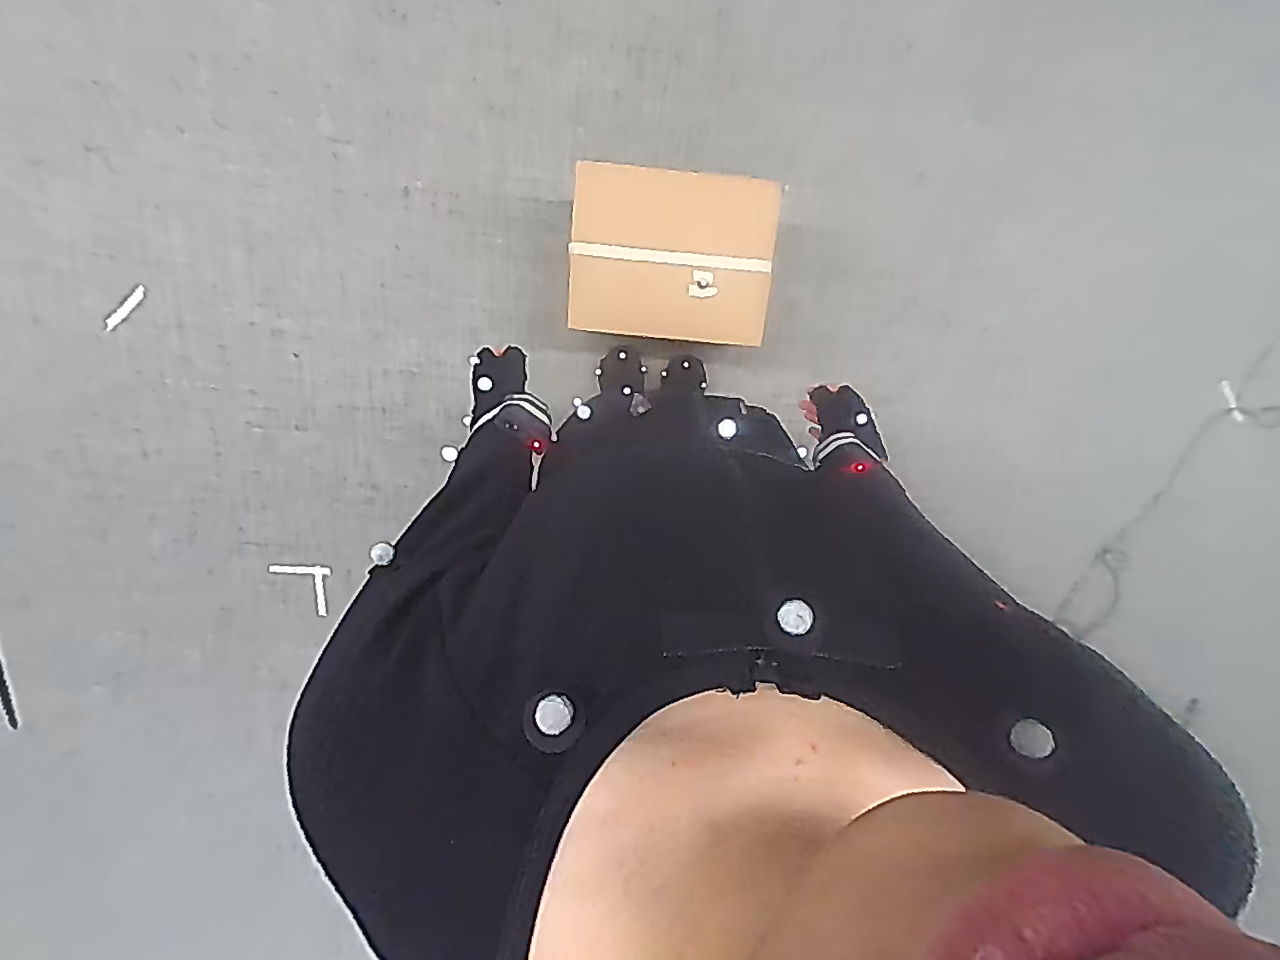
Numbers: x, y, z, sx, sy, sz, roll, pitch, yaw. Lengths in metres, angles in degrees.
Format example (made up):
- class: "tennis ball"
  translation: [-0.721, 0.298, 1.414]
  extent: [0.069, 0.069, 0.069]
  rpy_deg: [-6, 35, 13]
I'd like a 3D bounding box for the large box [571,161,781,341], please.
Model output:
- class: "large box"
  translation: [0.060, -0.486, 1.218]
  extent: [0.408, 0.320, 0.320]
  rpy_deg: [4, 106, -3]
